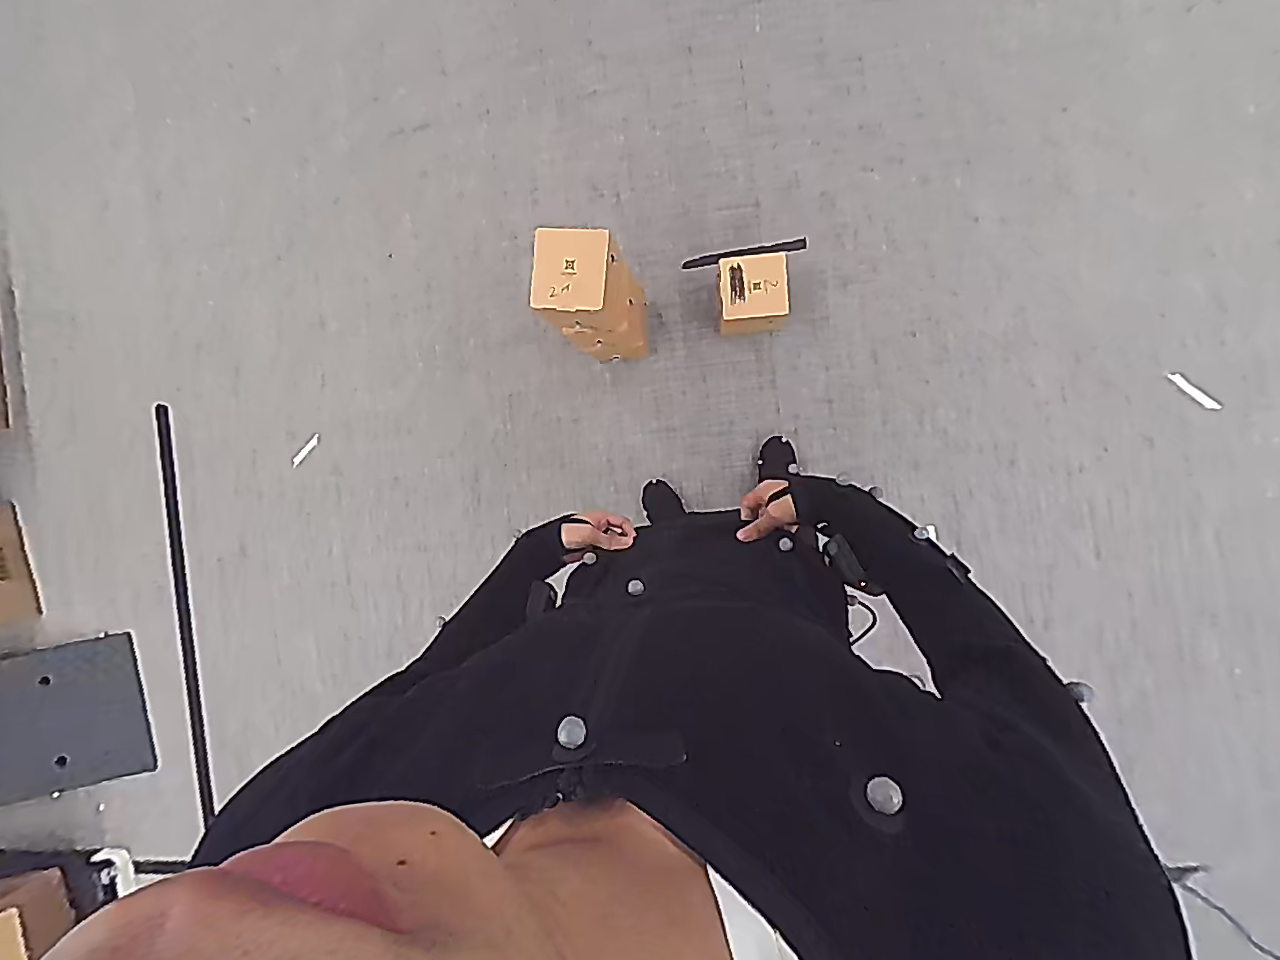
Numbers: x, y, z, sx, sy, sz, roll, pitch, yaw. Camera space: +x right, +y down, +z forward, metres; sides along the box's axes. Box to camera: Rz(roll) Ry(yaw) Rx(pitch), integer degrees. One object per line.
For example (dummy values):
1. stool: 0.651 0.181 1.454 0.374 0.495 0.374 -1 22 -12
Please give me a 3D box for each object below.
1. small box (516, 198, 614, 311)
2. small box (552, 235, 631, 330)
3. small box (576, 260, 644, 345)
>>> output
1. small box: -0.155 -0.481 1.169 0.168 0.176 0.179 6 94 8
2. small box: -0.116 -0.479 1.330 0.168 0.176 0.179 0 93 8
3. small box: -0.084 -0.482 1.488 0.168 0.176 0.179 -3 92 8
